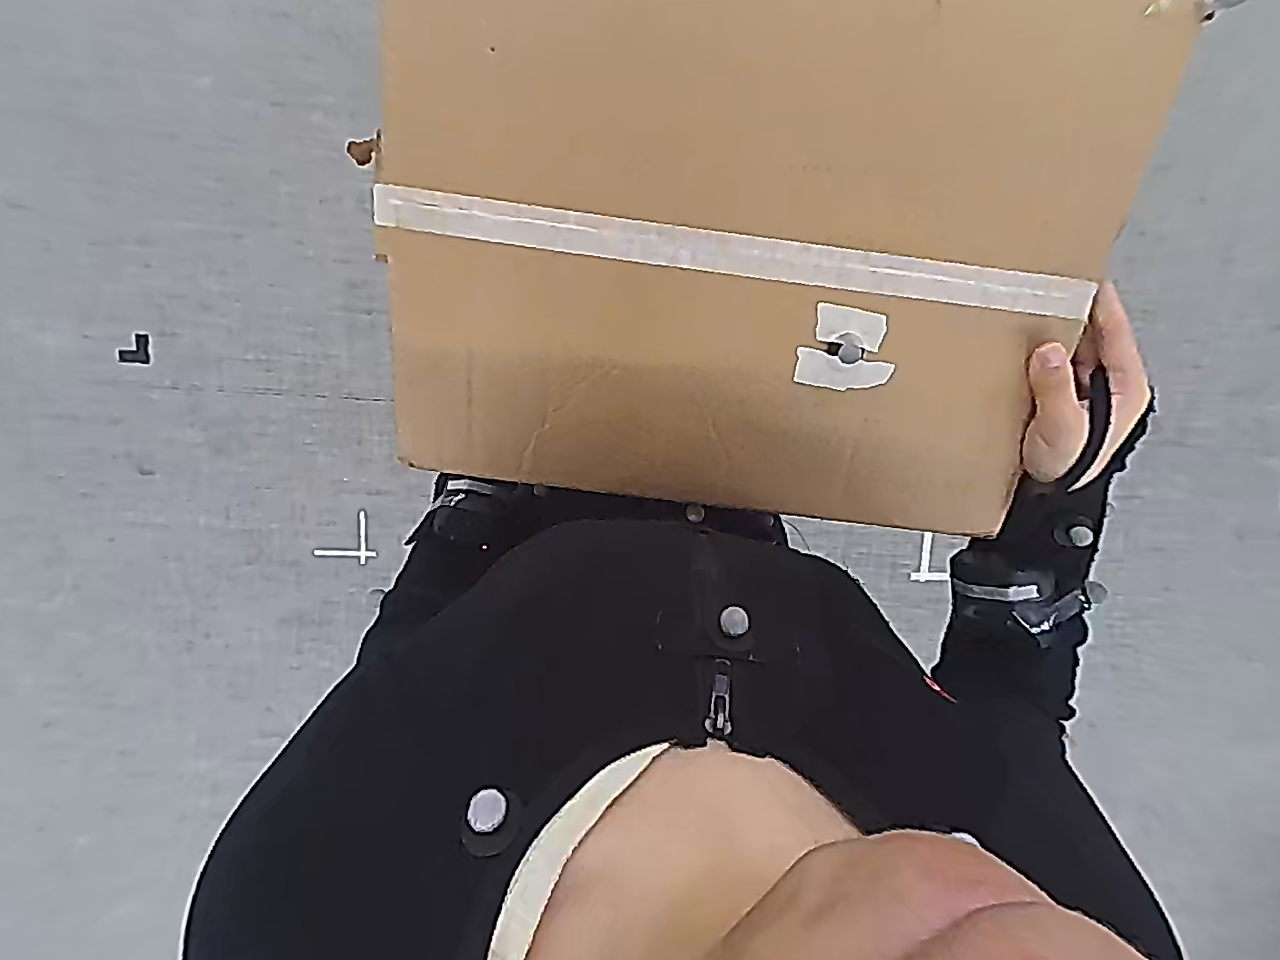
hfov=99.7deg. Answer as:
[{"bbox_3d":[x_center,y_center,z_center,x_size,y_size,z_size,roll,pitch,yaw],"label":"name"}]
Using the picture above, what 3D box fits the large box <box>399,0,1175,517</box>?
[{"bbox_3d":[0.060,-0.184,0.456,0.408,0.320,0.320,6,111,-3],"label":"large box"}]
